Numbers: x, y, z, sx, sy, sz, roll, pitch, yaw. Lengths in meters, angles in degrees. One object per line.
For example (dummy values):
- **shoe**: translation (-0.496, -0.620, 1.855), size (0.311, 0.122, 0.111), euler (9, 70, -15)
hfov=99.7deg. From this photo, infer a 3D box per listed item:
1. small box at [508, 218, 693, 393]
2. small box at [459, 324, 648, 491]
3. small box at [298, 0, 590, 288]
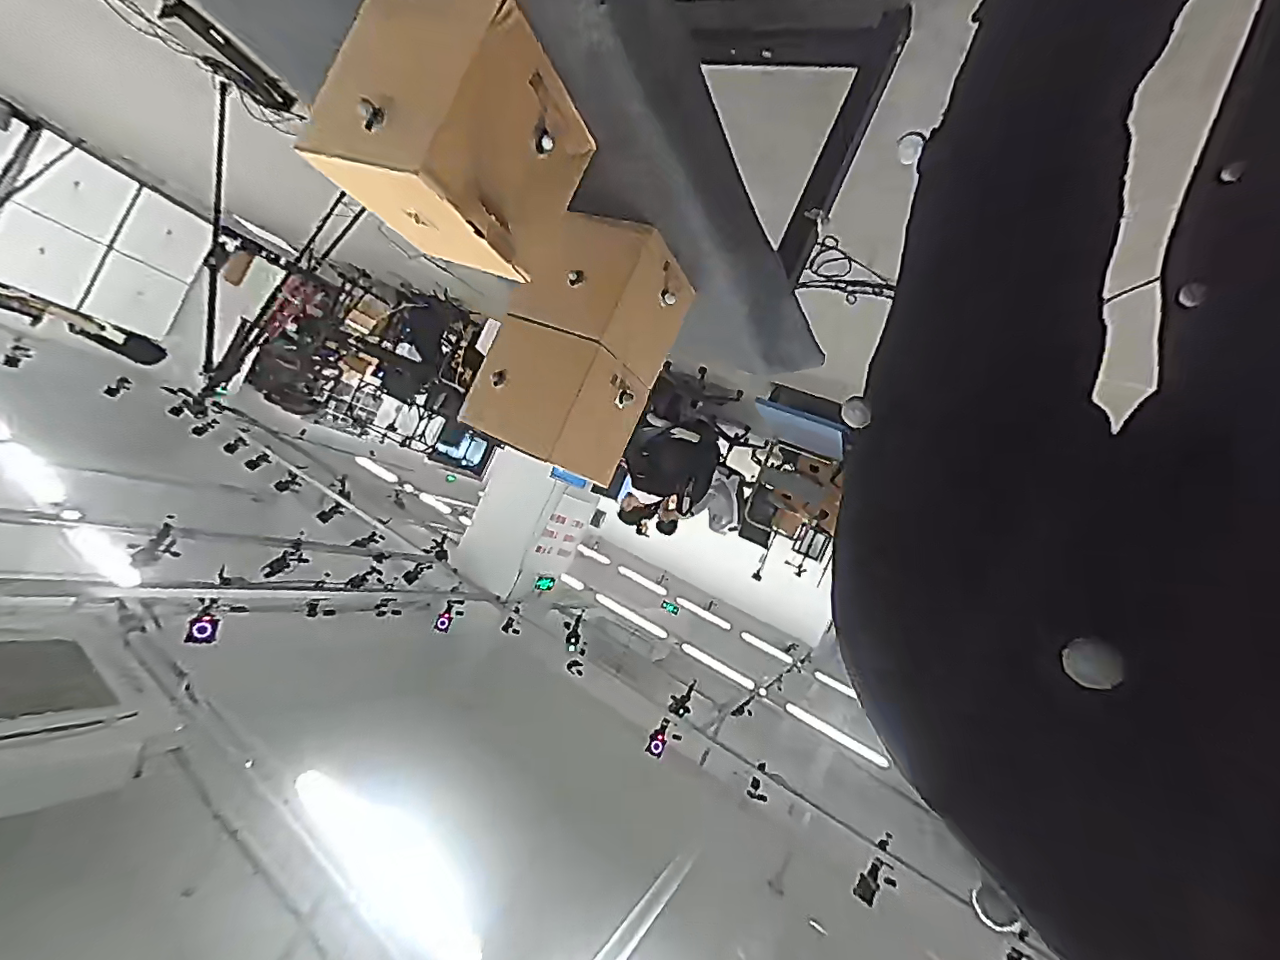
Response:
- **small box**: translation (-0.051, -0.253, 0.787), size (0.179, 0.176, 0.168), euler (23, 178, 28)
- **small box**: translation (-0.117, -0.105, 0.781), size (0.179, 0.176, 0.168), euler (22, 178, 28)
- **small box**: translation (-0.180, -0.324, 0.533), size (0.179, 0.176, 0.168), euler (23, 177, 24)
